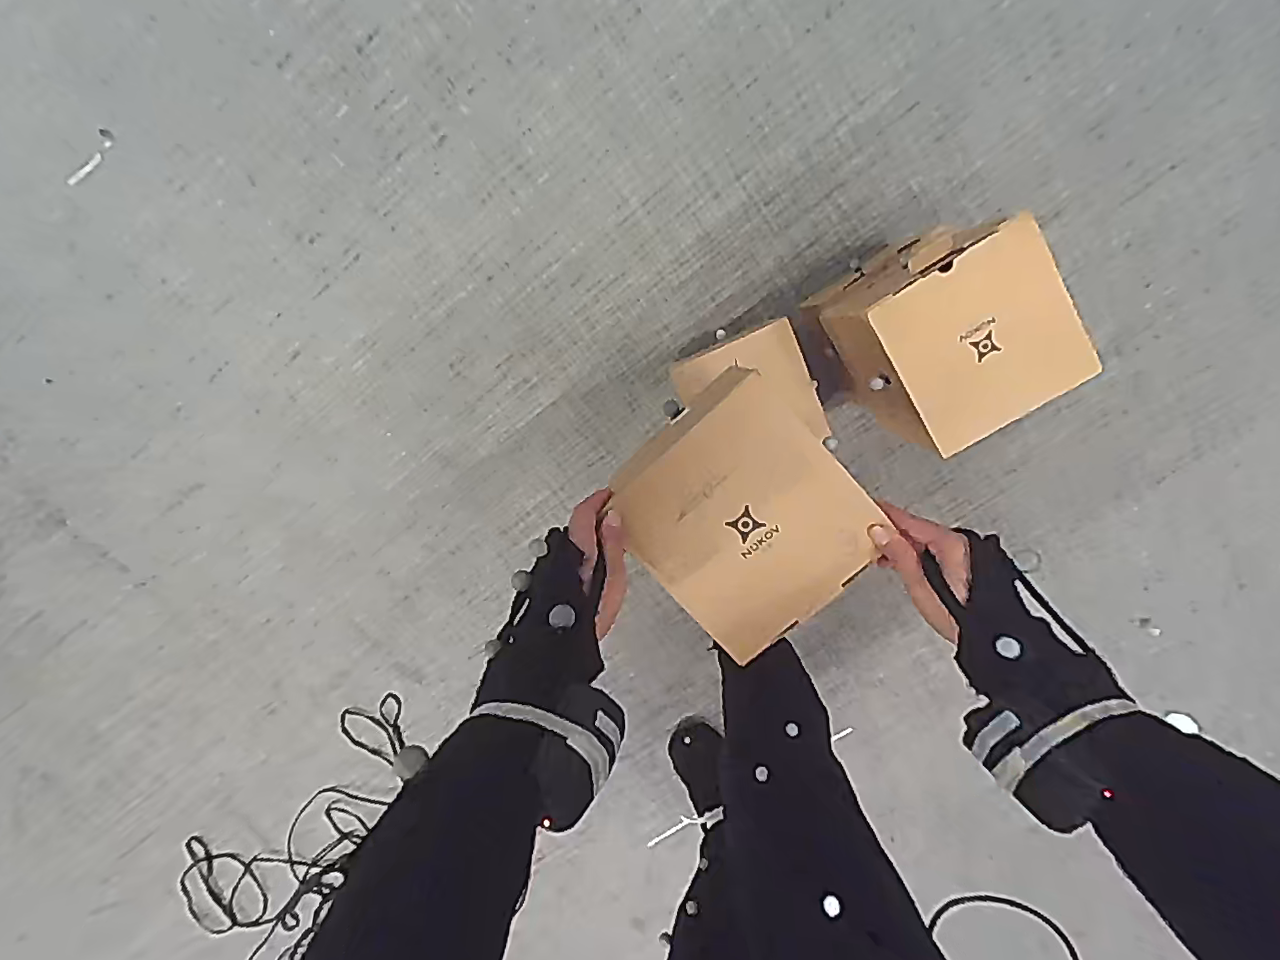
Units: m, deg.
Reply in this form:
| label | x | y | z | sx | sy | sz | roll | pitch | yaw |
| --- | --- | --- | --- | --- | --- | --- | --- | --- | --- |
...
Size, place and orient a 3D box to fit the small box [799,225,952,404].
| label | x | y | z | sx | sy | sz | roll | pitch | yaw |
| --- | --- | --- | --- | --- | --- | --- | --- | --- | --- |
| small box | 0.345 | -0.214 | 0.752 | 0.168 | 0.176 | 0.179 | -32 | 100 | 11 |

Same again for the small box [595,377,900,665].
| label | x | y | z | sx | sy | sz | roll | pitch | yaw |
| --- | --- | --- | --- | --- | --- | --- | --- | --- | --- |
| small box | 0.085 | 0.020 | 0.488 | 0.168 | 0.176 | 0.179 | -43 | 97 | 10 |

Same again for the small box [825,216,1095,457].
| label | x | y | z | sx | sy | sz | roll | pitch | yaw |
| --- | --- | --- | --- | --- | --- | --- | --- | --- | --- |
| small box | 0.334 | -0.154 | 0.599 | 0.168 | 0.176 | 0.179 | -32 | 101 | 11 |
